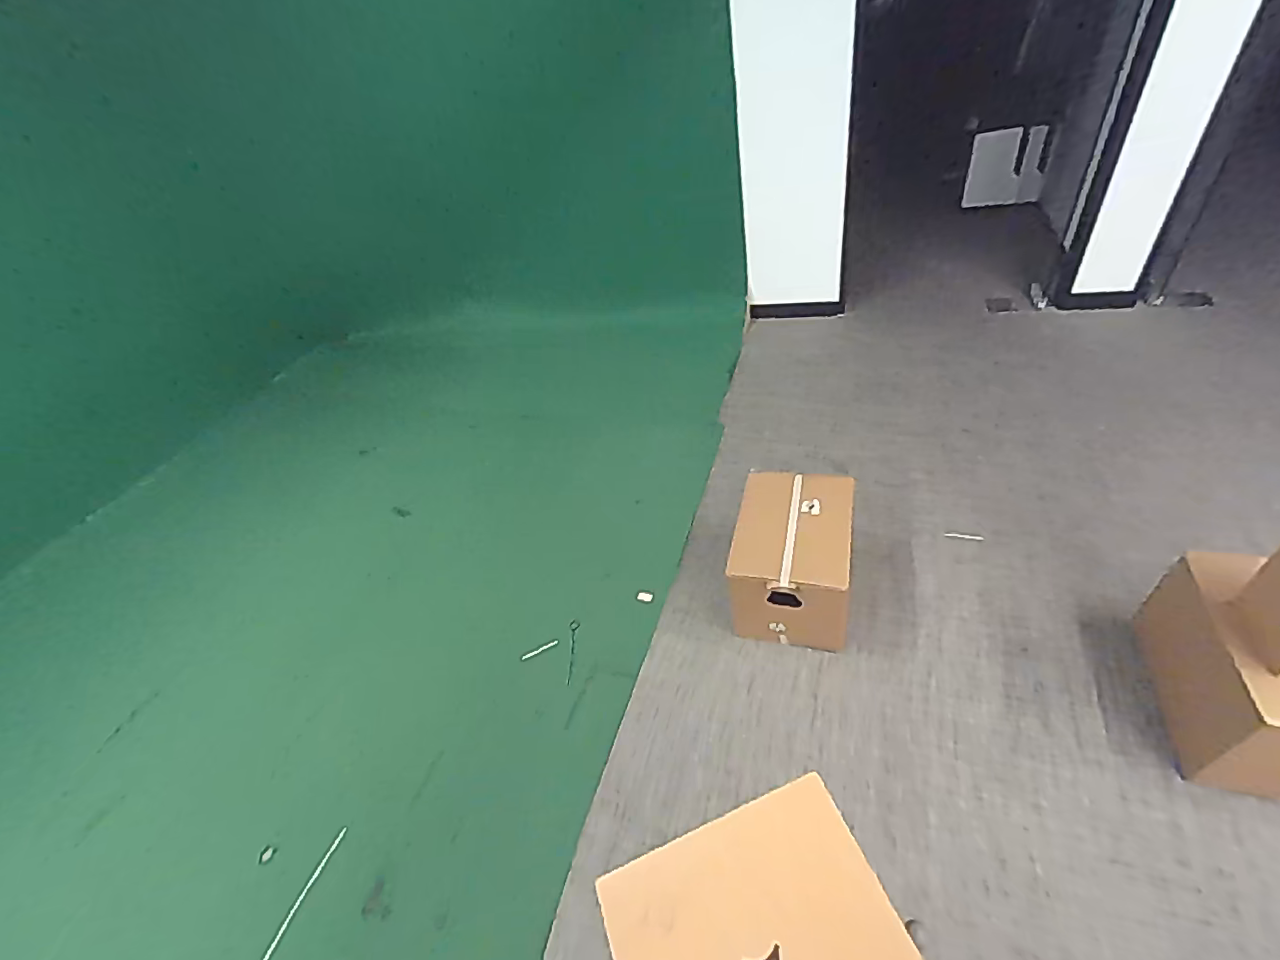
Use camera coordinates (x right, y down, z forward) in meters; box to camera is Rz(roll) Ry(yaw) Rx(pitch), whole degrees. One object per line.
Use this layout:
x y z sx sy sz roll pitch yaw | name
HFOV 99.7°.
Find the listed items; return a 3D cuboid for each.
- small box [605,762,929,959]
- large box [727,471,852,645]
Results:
0.093 0.334 0.366 0.168 0.176 0.179 -23 46 -5 | small box
0.460 0.225 1.615 0.320 0.320 0.408 4 45 21 | large box
